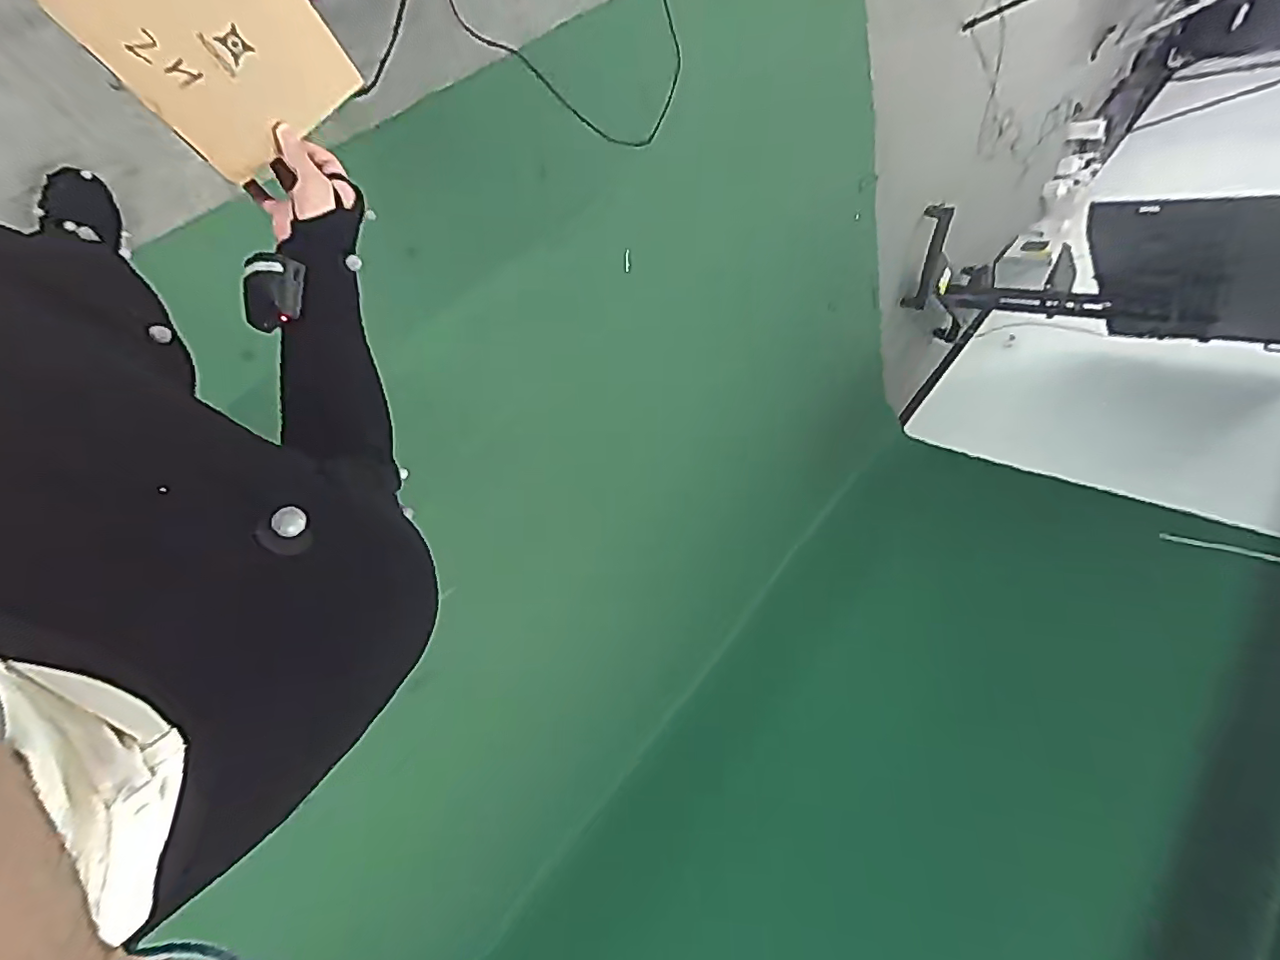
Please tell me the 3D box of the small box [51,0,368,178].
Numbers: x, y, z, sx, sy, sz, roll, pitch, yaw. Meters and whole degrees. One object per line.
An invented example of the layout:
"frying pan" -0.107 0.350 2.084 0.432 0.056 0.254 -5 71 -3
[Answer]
"small box" -0.411 -0.440 0.514 0.179 0.176 0.168 -43 152 -4
